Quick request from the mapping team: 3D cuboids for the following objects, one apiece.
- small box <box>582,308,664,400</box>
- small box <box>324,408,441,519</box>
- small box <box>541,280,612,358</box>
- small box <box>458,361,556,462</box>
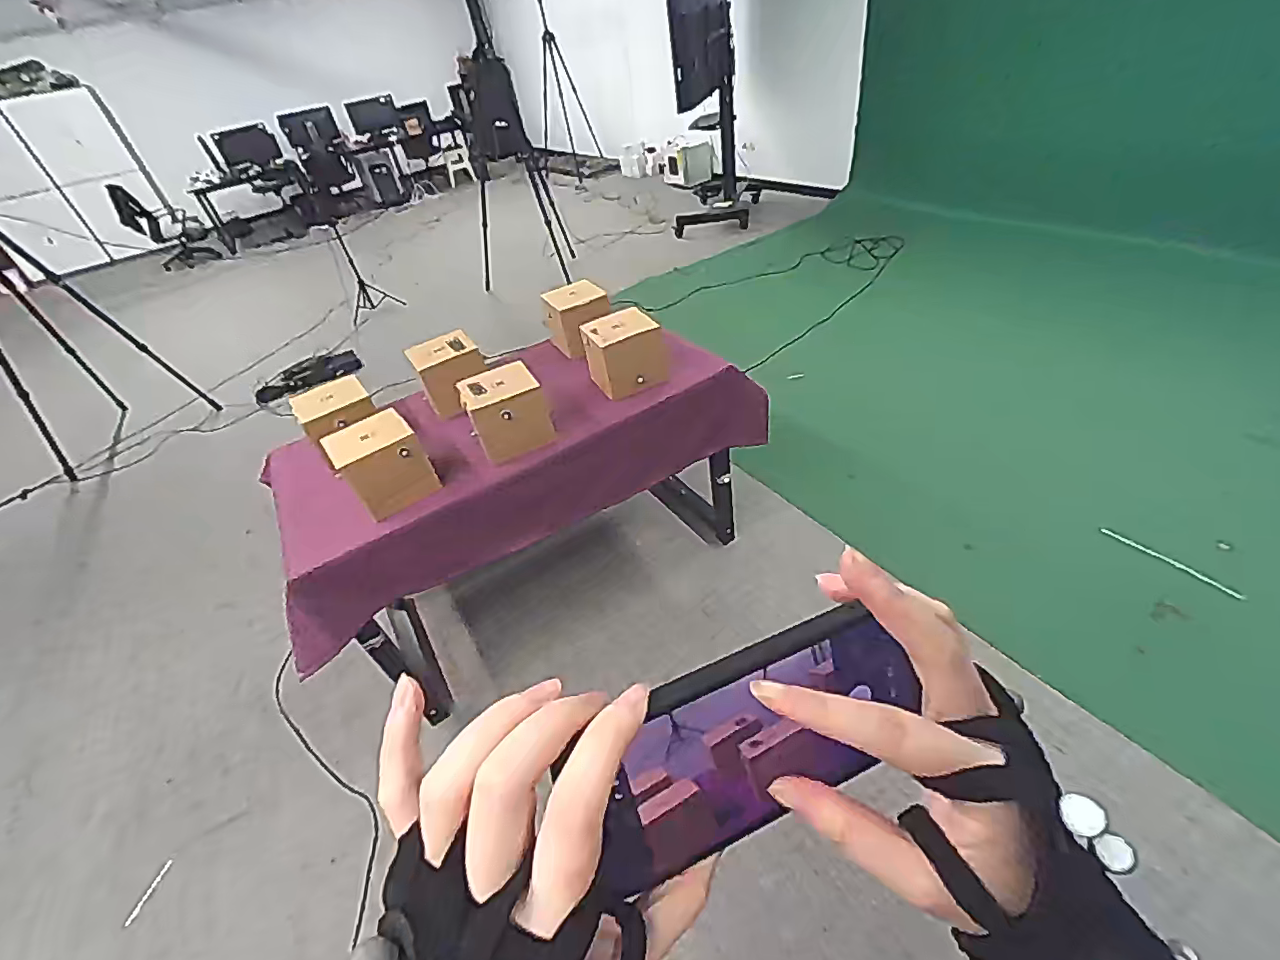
[{"bbox_3d":[-0.043,-0.352,1.509,0.179,0.176,0.168,-23,41,-14],"label":"small box"},{"bbox_3d":[-0.602,-0.038,1.274,0.179,0.176,0.168,-31,44,-24],"label":"small box"},{"bbox_3d":[-0.196,-0.513,1.730,0.168,0.176,0.179,-26,43,-16],"label":"small box"},{"bbox_3d":[-0.333,-0.171,1.366,0.179,0.176,0.168,-23,42,-15],"label":"small box"}]
